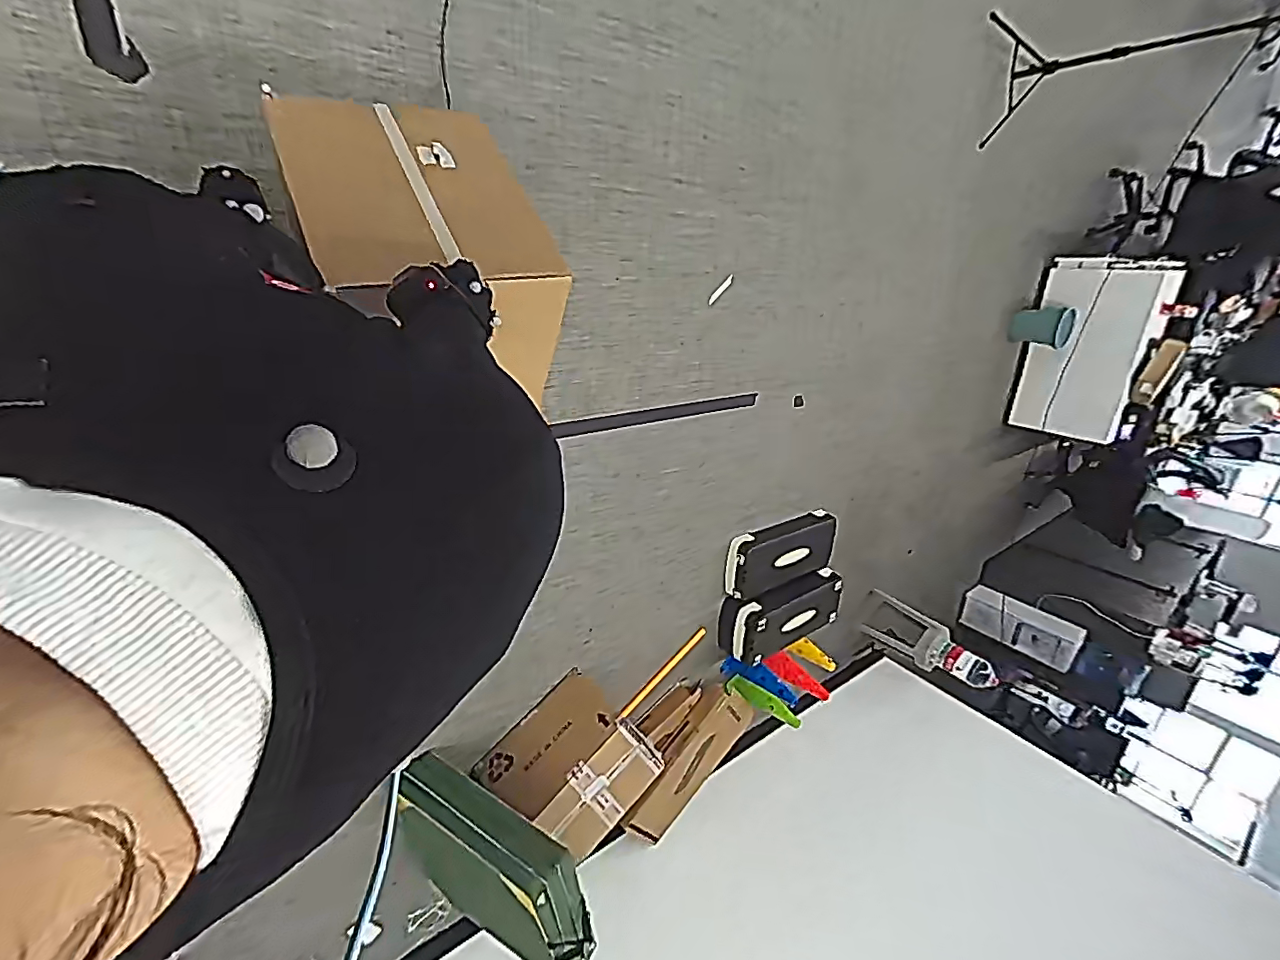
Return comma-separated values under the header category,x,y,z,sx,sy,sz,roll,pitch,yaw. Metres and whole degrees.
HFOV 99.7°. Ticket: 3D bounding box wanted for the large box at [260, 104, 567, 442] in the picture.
category,x,y,z,sx,sy,sz,roll,pitch,yaw
large box,-0.364,-0.331,0.884,0.320,0.408,0.320,-16,154,-31
